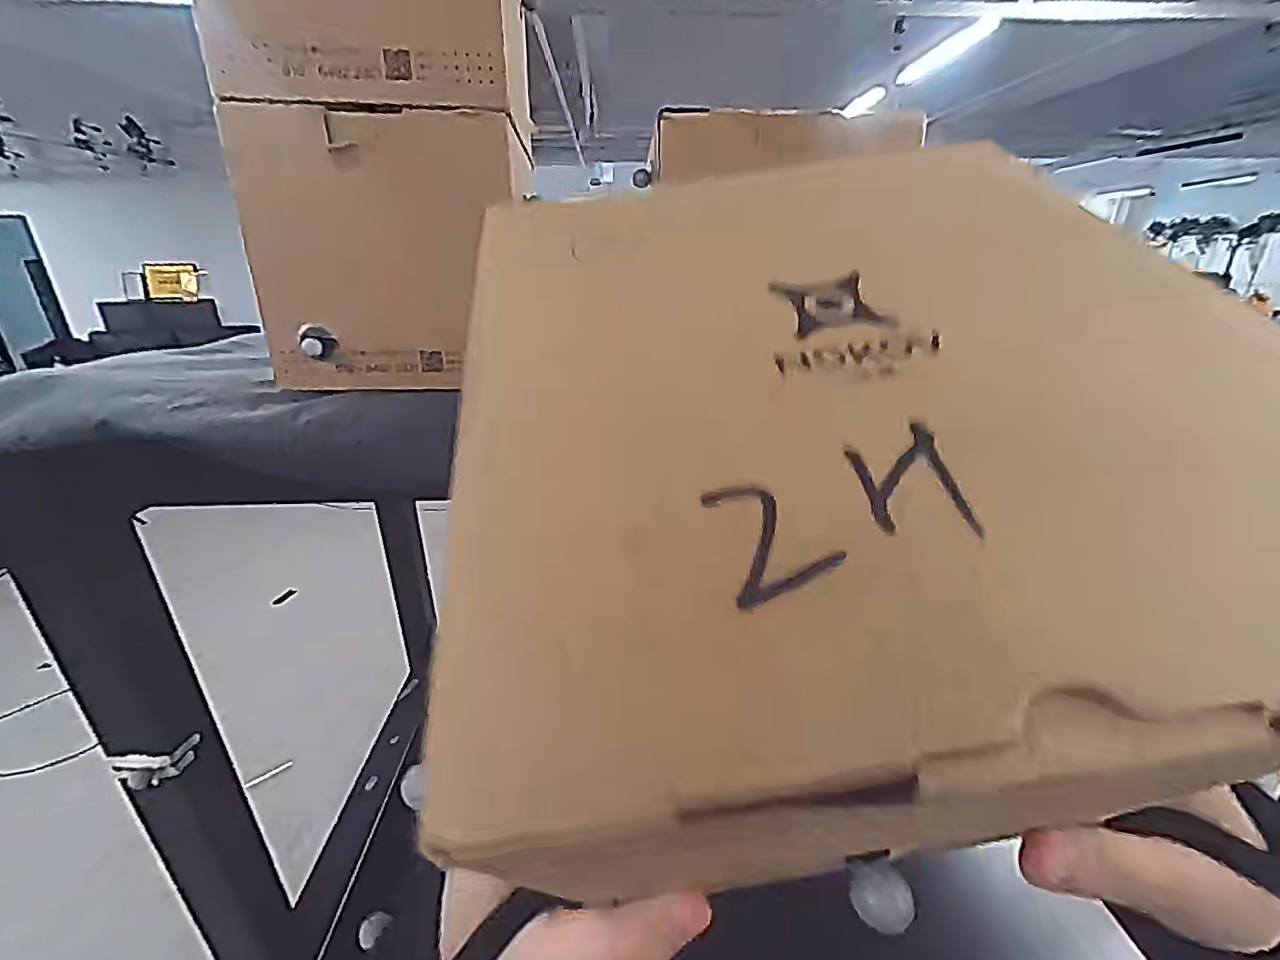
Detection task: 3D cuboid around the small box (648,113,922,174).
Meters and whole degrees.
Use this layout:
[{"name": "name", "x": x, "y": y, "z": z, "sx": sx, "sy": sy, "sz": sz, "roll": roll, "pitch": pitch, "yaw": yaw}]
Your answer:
[{"name": "small box", "x": 0.090, "y": -0.171, "z": 0.434, "sx": 0.168, "sy": 0.176, "sz": 0.179, "roll": -2, "pitch": 20, "yaw": -2}]

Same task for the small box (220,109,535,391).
[{"name": "small box", "x": -0.166, "y": -0.164, "z": 0.419, "sx": 0.168, "sy": 0.176, "sz": 0.179, "roll": -1, "pitch": 20, "yaw": -5}]

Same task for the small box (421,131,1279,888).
[{"name": "small box", "x": 0.050, "y": 0.014, "z": 0.181, "sx": 0.168, "sy": 0.176, "sz": 0.179, "roll": -9, "pitch": 51, "yaw": -1}]
